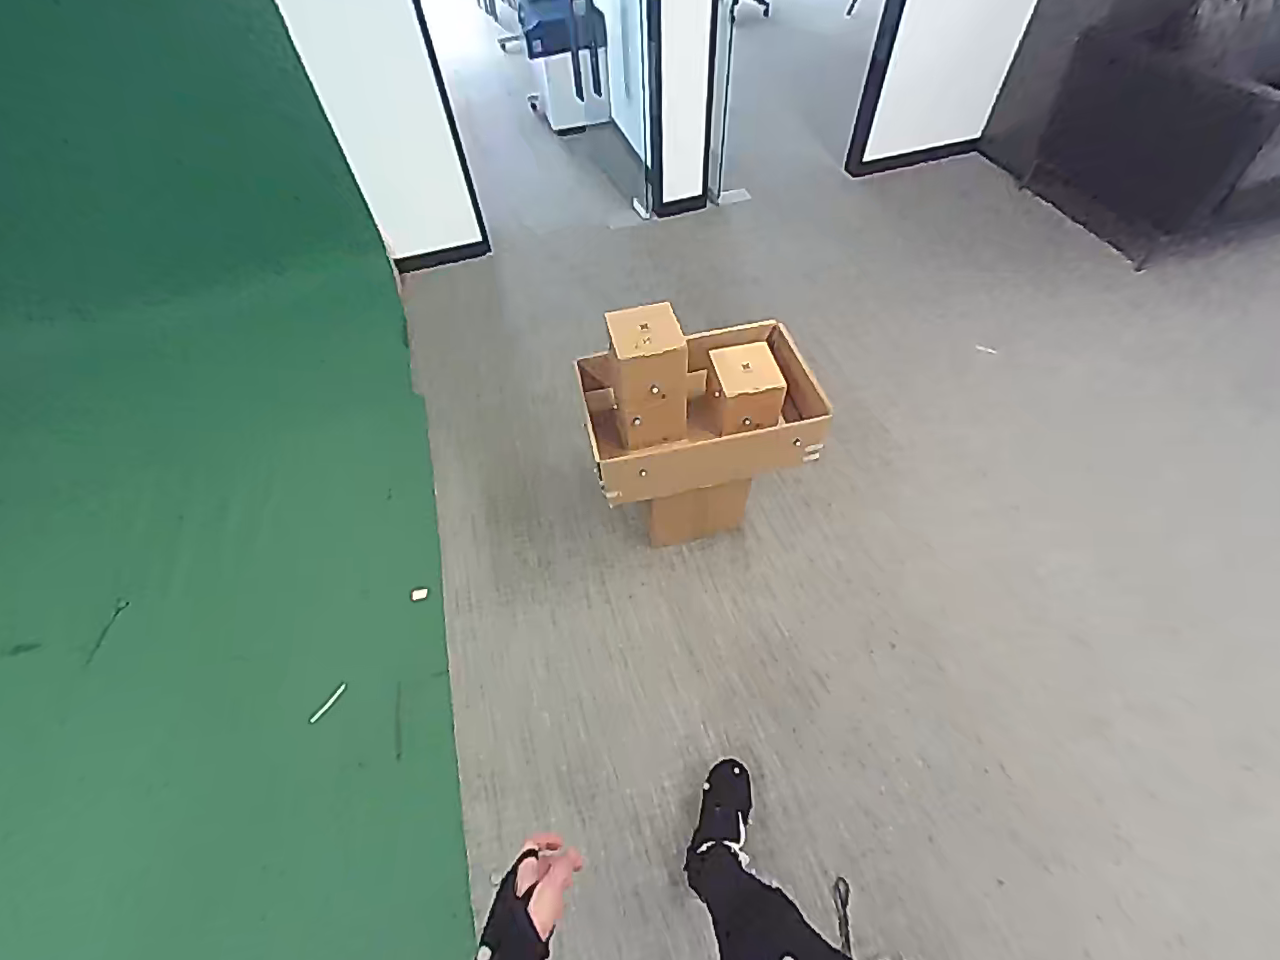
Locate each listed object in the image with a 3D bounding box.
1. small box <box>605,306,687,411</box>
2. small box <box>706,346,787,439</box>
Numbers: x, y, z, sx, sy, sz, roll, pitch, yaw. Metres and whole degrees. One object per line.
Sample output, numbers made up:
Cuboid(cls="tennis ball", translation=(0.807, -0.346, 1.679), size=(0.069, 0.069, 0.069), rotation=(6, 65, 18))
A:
Cuboid(cls="small box", translation=(0.013, -0.299, 1.339), size=(0.168, 0.176, 0.179), rotation=(-12, 54, -5))
Cuboid(cls="small box", translation=(0.284, -0.238, 1.486), size=(0.168, 0.176, 0.179), rotation=(-11, 55, -4))
